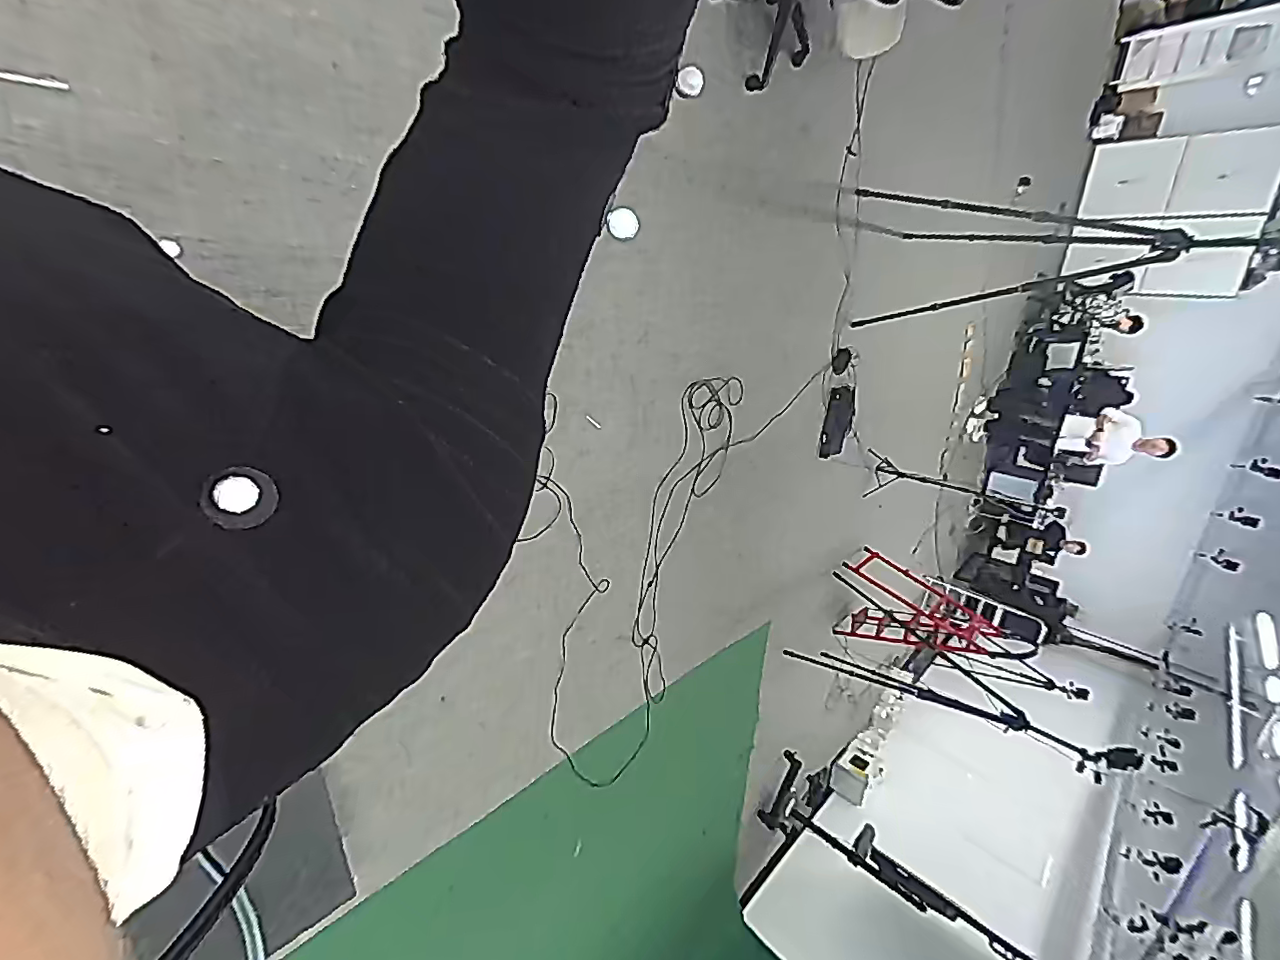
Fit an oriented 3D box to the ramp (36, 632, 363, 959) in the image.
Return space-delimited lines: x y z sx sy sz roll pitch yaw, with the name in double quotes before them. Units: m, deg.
"ramp" -1.135 0.965 1.482 0.509 0.206 0.991 -20 118 -40
